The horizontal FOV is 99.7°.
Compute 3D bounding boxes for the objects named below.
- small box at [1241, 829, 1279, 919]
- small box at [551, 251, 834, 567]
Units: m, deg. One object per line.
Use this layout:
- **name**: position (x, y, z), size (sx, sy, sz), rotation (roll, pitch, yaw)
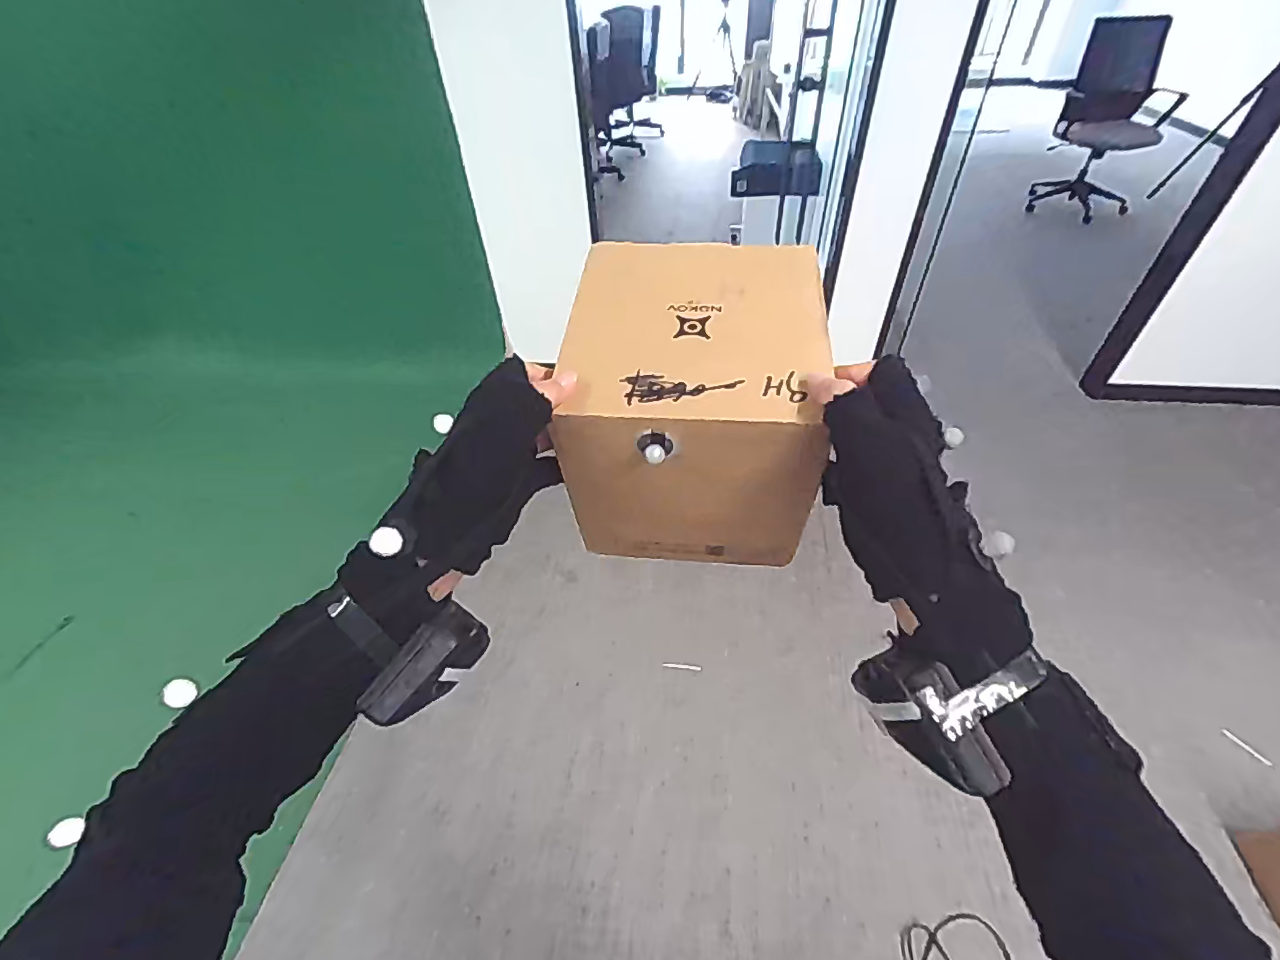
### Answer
- **small box**: position (1.402, 0.816, 1.088), size (0.168, 0.176, 0.179), rotation (4, 45, 8)
- **small box**: position (0.043, -0.054, 0.421), size (0.168, 0.176, 0.179), rotation (3, 53, 8)
